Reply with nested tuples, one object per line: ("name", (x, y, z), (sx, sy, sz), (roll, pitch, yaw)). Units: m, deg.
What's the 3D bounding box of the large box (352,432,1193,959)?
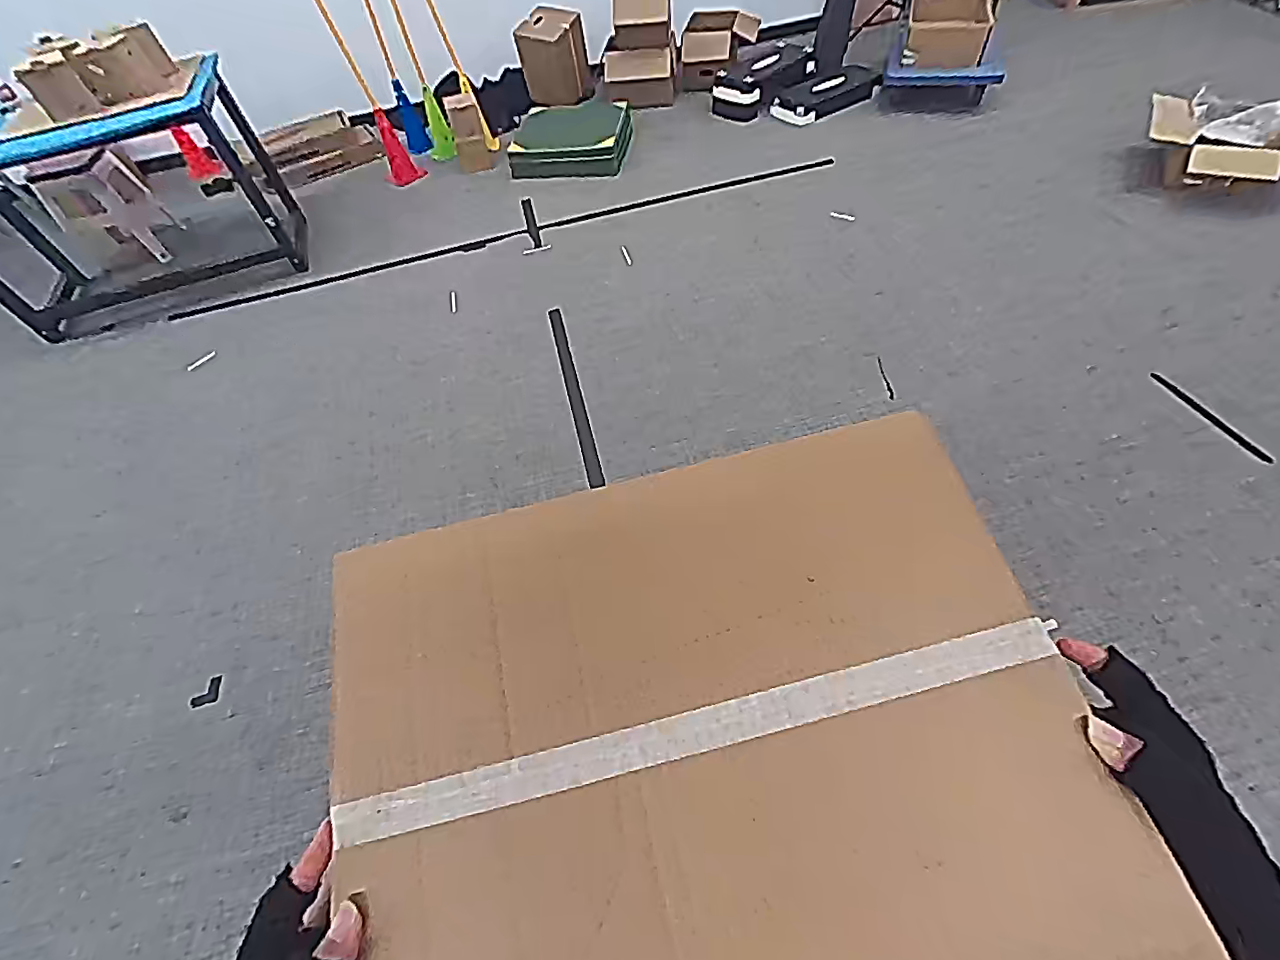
("large box", (0.047, 0.208, 0.441), (0.408, 0.320, 0.320), (-14, 64, -2))
